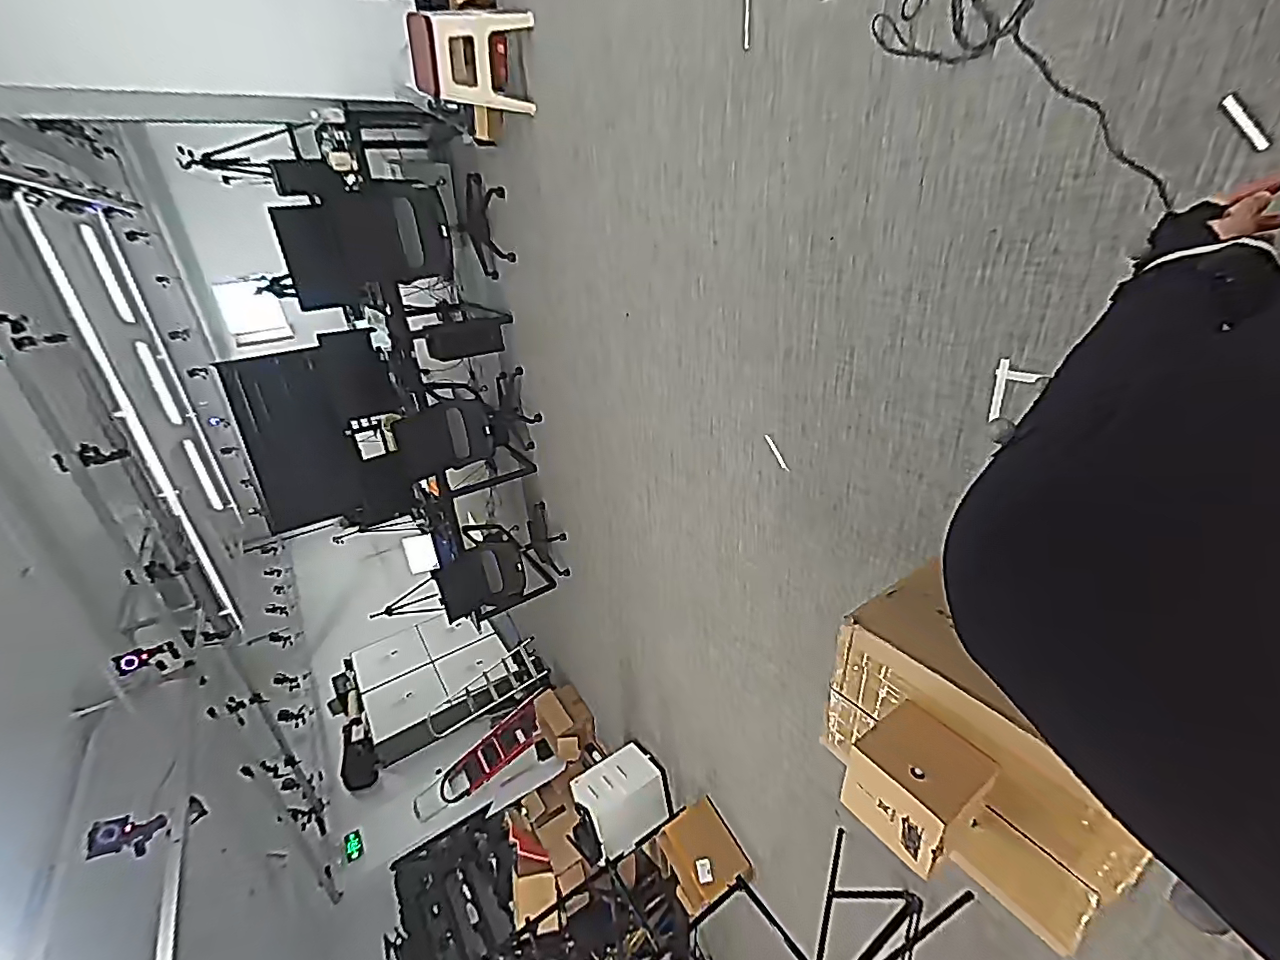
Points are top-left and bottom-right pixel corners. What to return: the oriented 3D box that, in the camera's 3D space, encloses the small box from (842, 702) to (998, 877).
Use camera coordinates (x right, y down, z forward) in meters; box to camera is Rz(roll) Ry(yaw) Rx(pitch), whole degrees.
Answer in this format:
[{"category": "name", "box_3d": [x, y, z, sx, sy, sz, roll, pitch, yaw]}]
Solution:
[{"category": "small box", "box_3d": [0.495, 0.539, 0.965, 0.179, 0.176, 0.168, 34, 135, 49]}]
